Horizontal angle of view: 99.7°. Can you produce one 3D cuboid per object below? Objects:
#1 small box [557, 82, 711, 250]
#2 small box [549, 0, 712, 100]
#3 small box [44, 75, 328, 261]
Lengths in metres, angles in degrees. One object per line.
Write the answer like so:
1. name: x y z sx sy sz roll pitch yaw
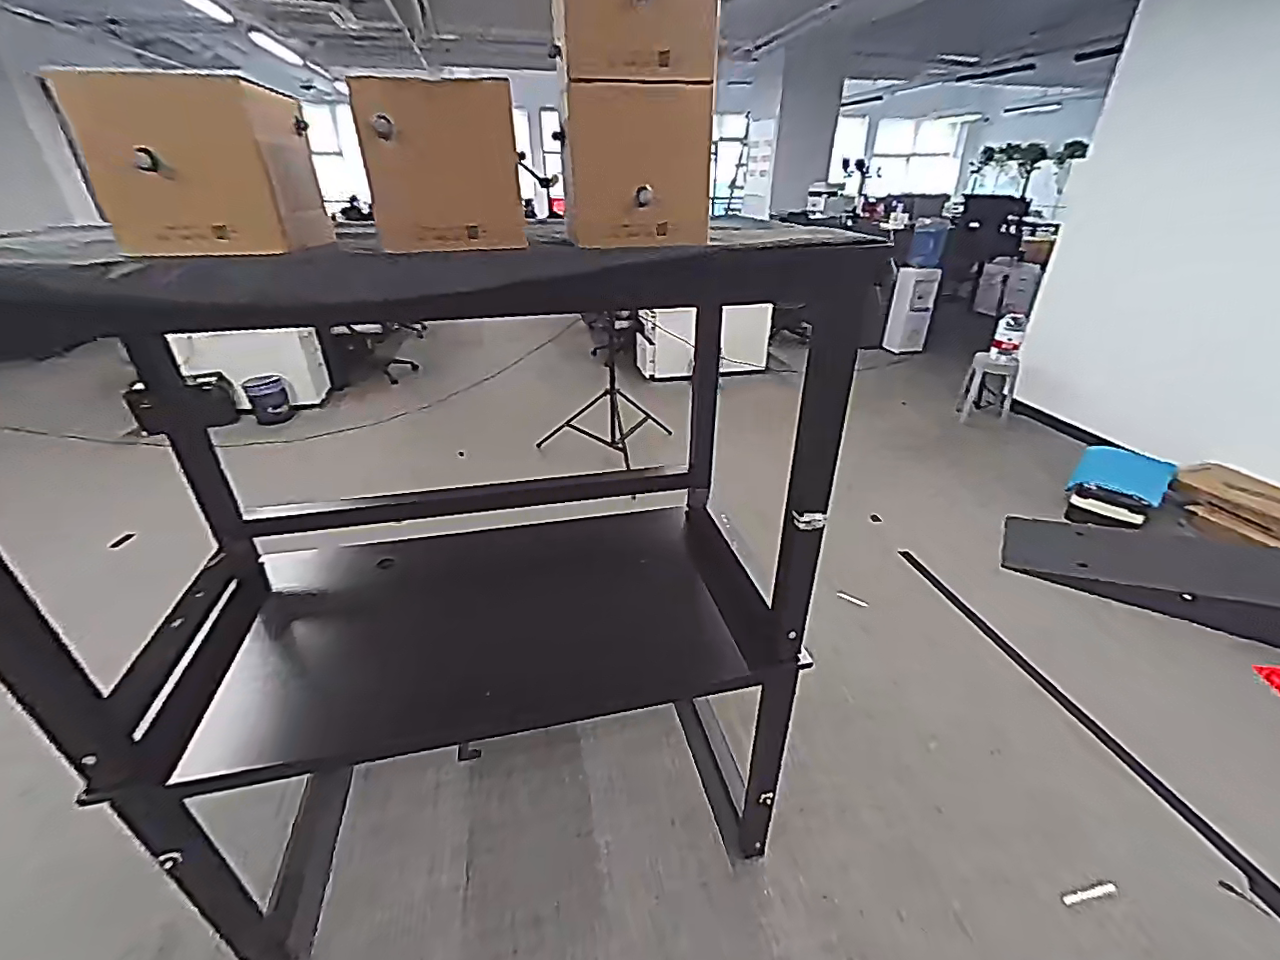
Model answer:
1. small box: -0.015 -0.394 0.697 0.168 0.176 0.179 -7 29 -10
2. small box: -0.016 -0.539 0.620 0.168 0.176 0.179 -6 29 -9
3. small box: -0.489 -0.348 0.624 0.168 0.176 0.179 -5 28 -9
